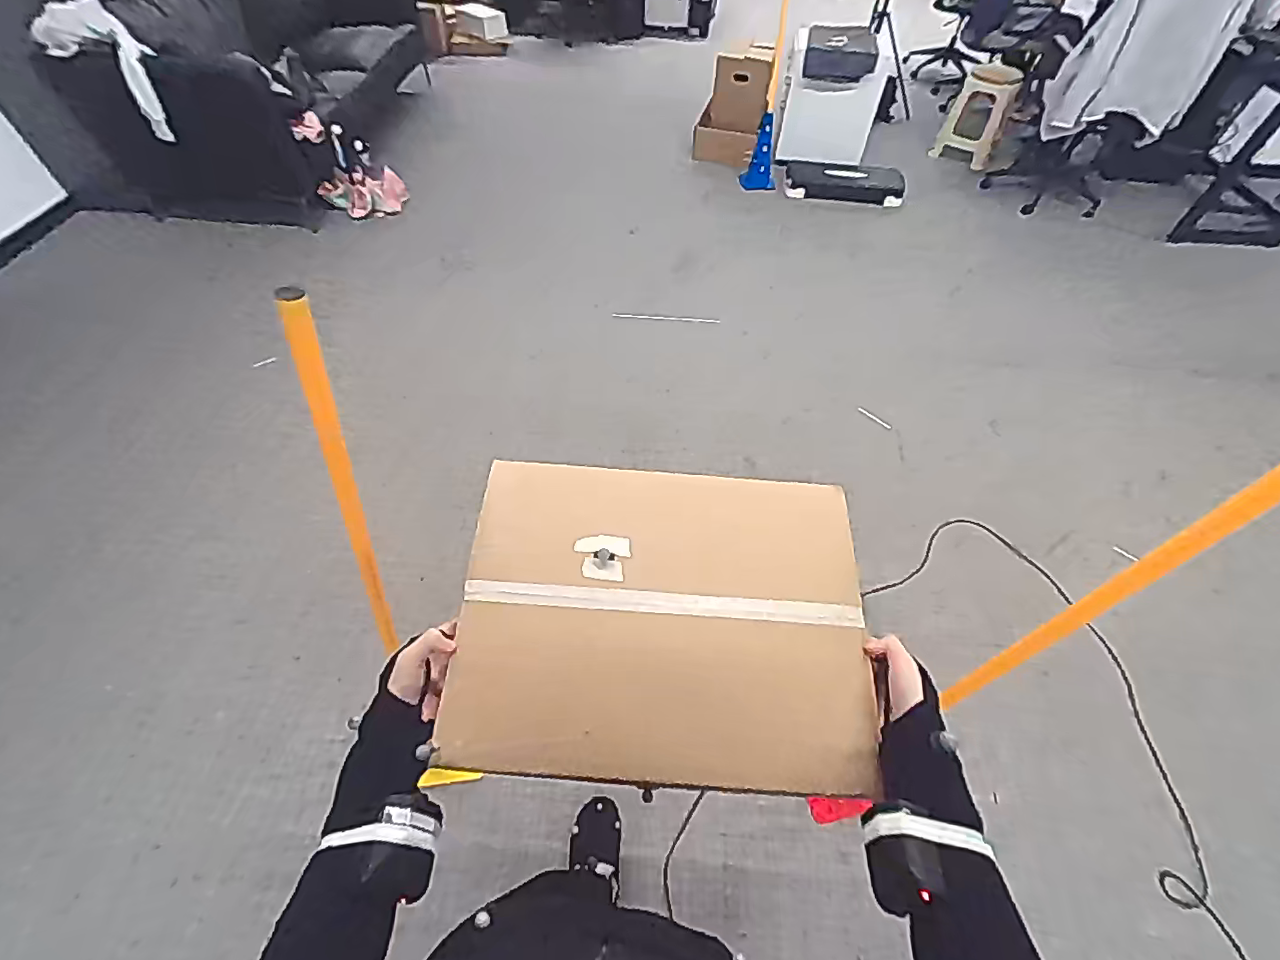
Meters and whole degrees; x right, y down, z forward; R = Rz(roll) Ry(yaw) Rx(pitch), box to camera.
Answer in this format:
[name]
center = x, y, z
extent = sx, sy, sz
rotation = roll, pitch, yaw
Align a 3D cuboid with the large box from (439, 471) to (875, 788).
[large box]
center = 0.020, 0.204, 0.689
extent = 0.408, 0.320, 0.320
rotation = 4, 60, 0
